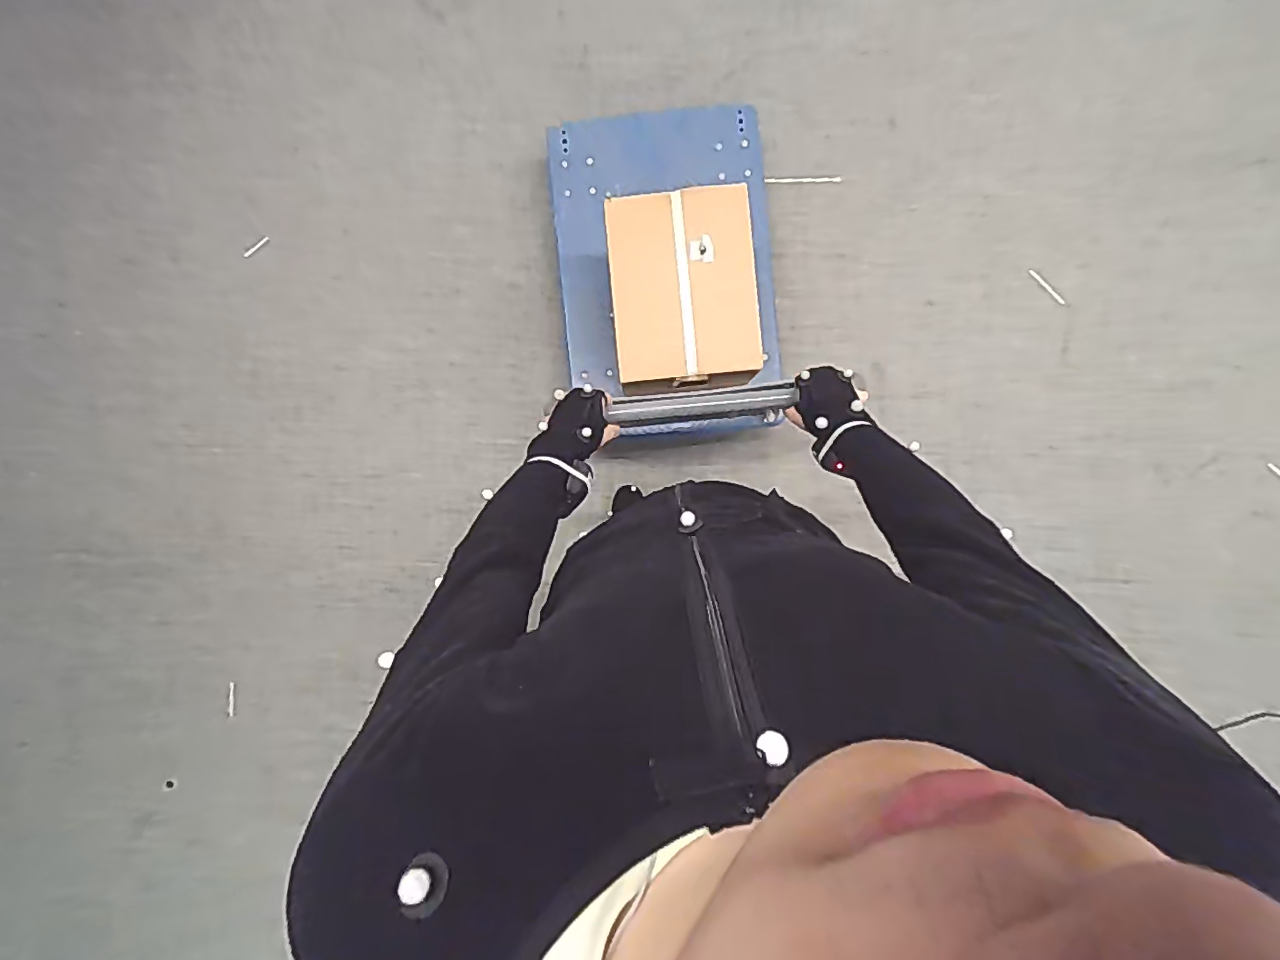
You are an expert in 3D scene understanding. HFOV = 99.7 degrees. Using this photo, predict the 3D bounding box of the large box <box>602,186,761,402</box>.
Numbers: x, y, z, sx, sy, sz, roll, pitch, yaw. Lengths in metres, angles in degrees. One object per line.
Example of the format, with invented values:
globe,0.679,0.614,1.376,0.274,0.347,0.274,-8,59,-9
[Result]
large box,0.097,-0.425,1.323,0.320,0.320,0.408,-5,90,2
